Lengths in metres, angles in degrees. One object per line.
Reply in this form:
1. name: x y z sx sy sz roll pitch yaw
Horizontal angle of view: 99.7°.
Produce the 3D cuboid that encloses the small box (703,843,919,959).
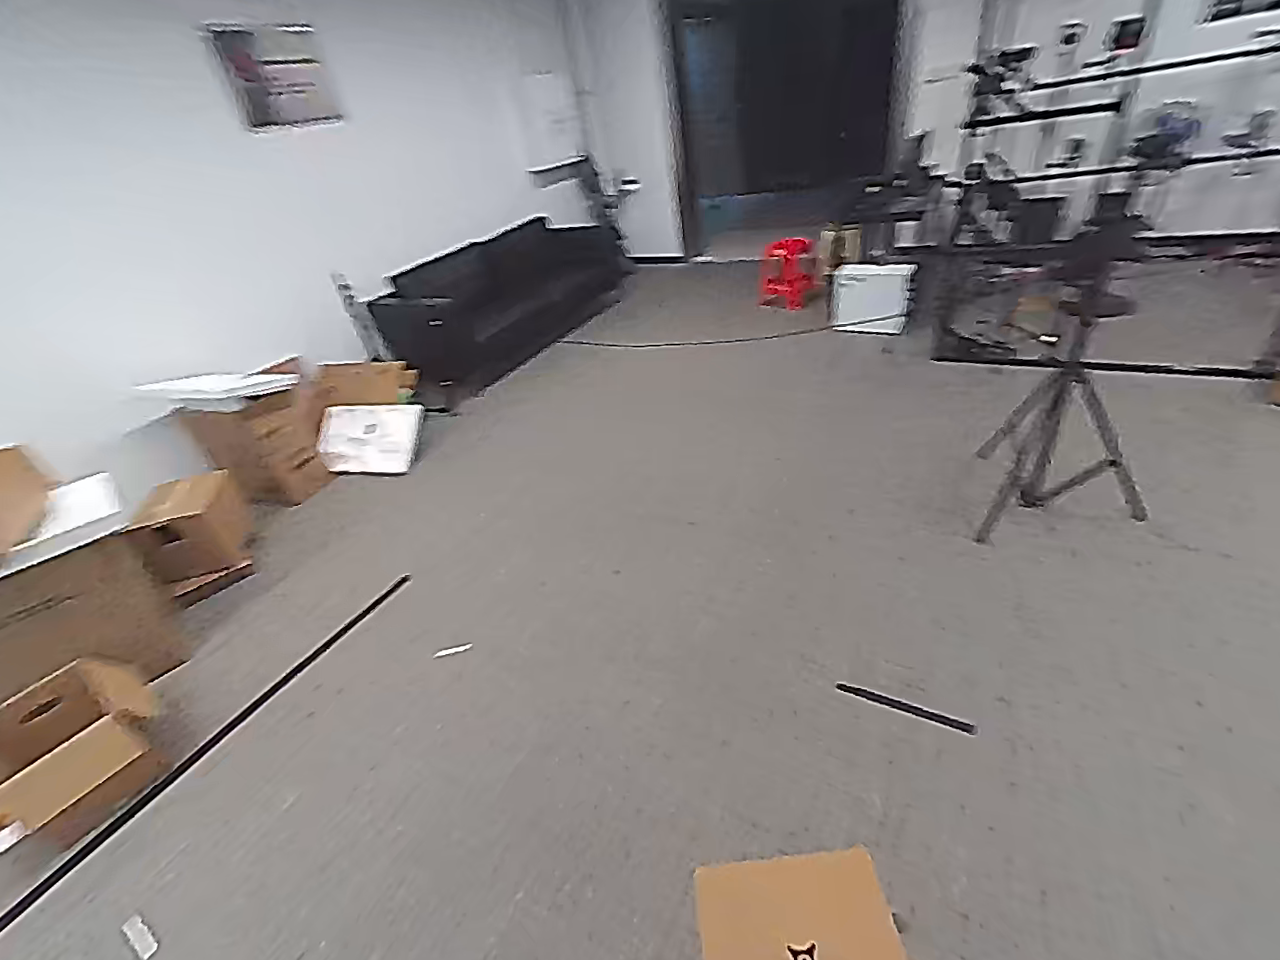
1. small box: 0.153 0.461 0.471 0.168 0.176 0.179 -10 31 3
